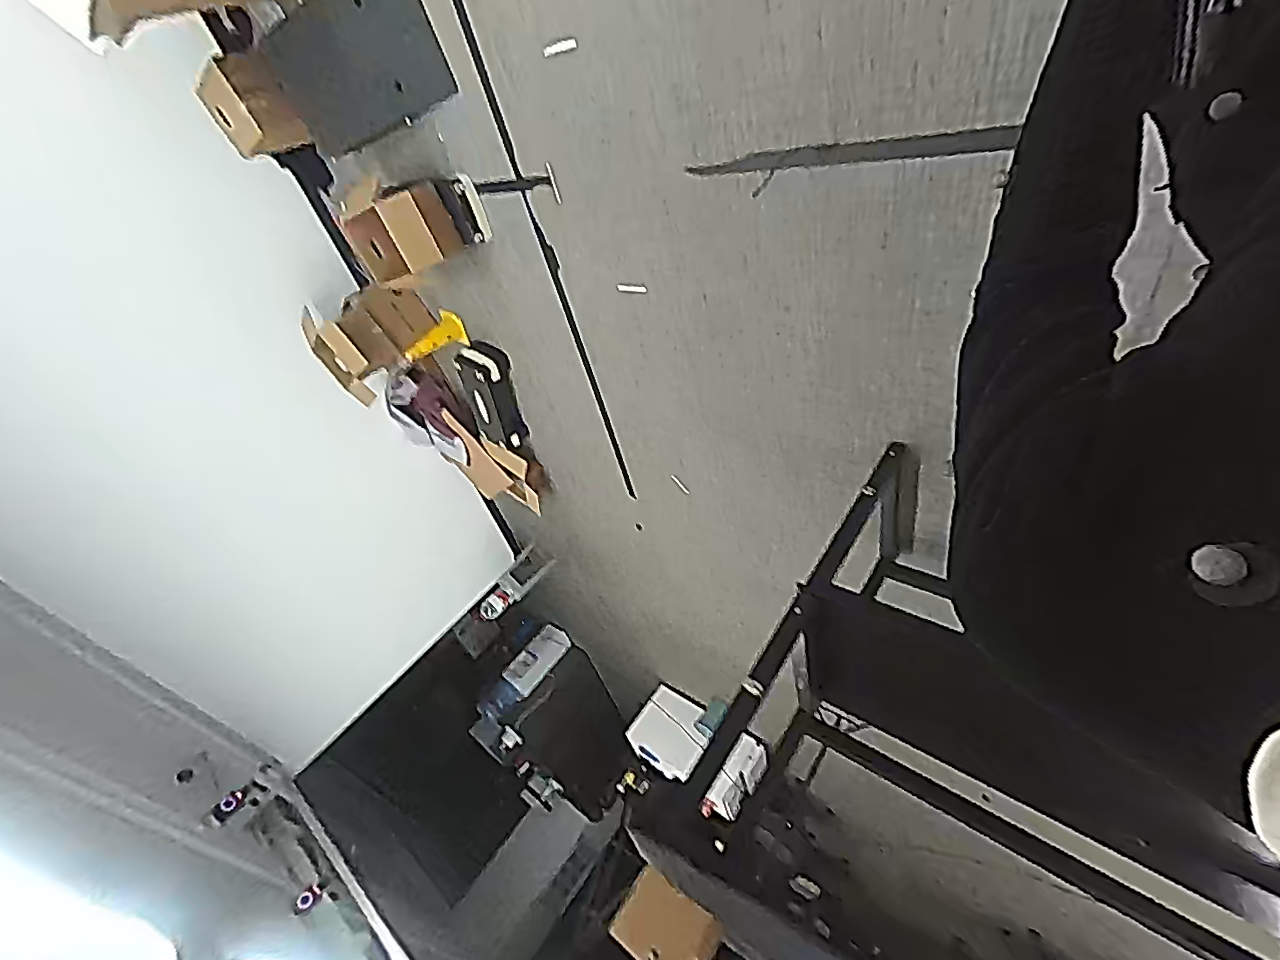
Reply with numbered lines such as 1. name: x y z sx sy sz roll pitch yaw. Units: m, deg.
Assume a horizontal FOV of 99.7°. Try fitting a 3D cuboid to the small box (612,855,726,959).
1. small box: 0.071 0.958 1.163 0.168 0.176 0.179 19 142 35
